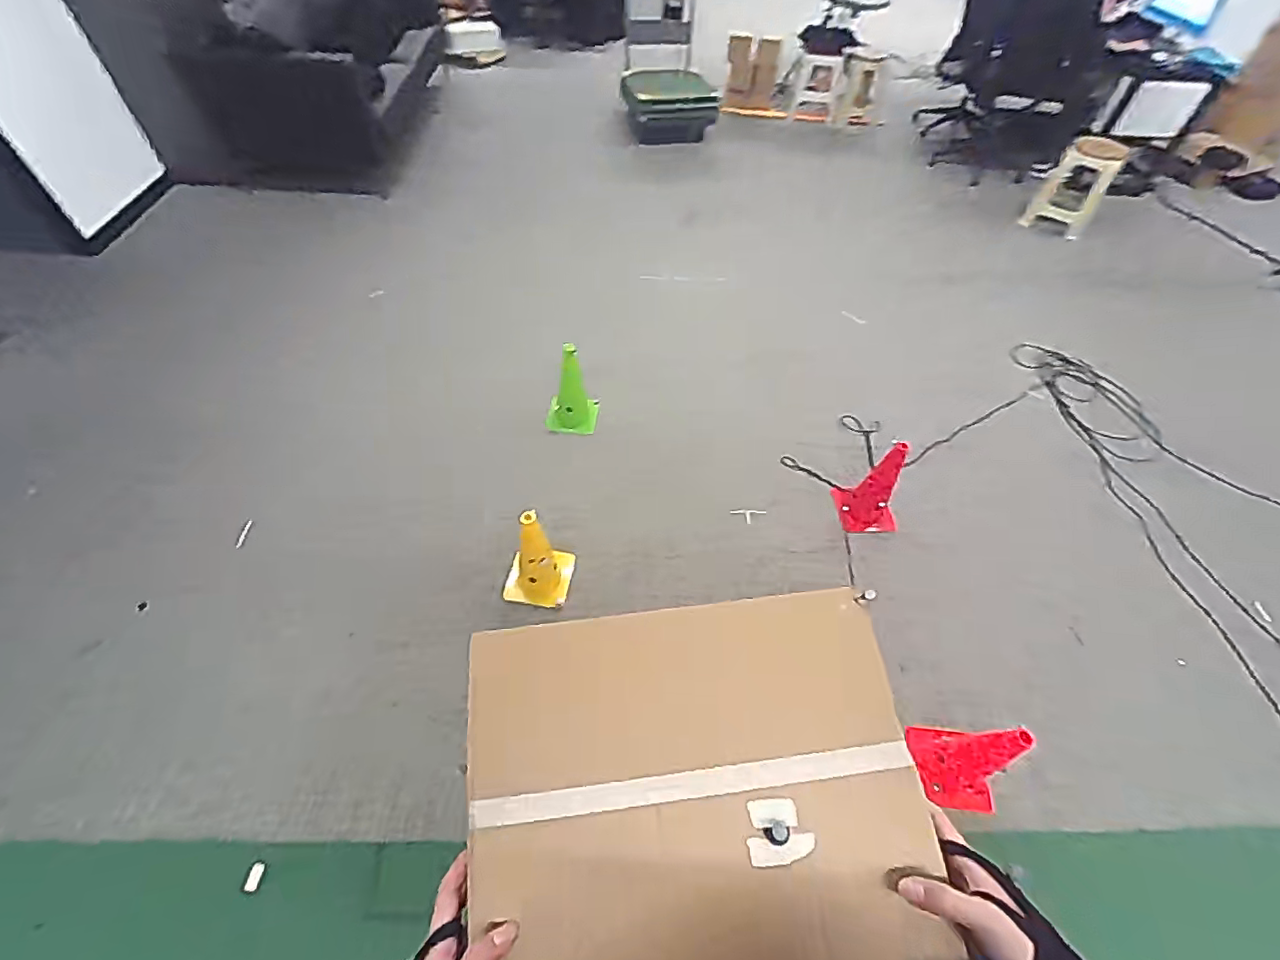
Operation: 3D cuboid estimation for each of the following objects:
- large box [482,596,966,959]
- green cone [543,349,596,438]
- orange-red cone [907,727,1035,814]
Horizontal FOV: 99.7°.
[{"bbox_3d":[0.054,0.348,0.630,0.408,0.320,0.320,-6,66,-3],"label":"large box"},{"bbox_3d":[-0.284,-0.359,2.104,0.200,0.368,0.202,5,53,1],"label":"green cone"},{"bbox_3d":[0.853,0.689,1.345,0.199,0.360,0.198,7,53,1],"label":"orange-red cone"}]
